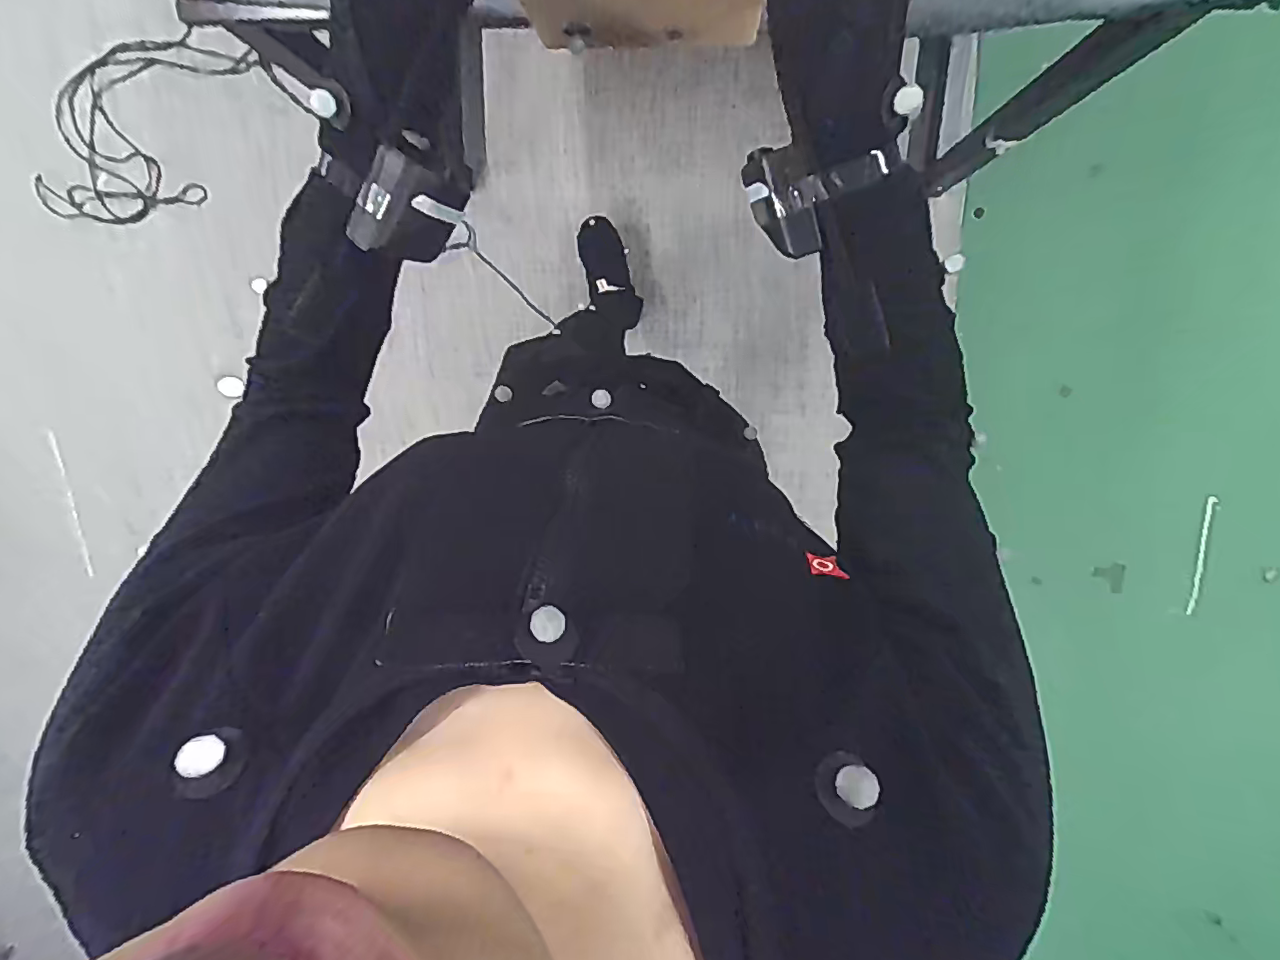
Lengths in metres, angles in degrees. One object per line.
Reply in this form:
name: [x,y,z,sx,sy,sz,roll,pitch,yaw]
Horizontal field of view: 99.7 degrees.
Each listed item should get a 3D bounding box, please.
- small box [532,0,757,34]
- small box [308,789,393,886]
small box: [-0.002,-0.402,0.320,0.168,0.176,0.179,3,106,6]
small box: [-0.883,1.096,1.665,0.168,0.176,0.179,4,103,6]
